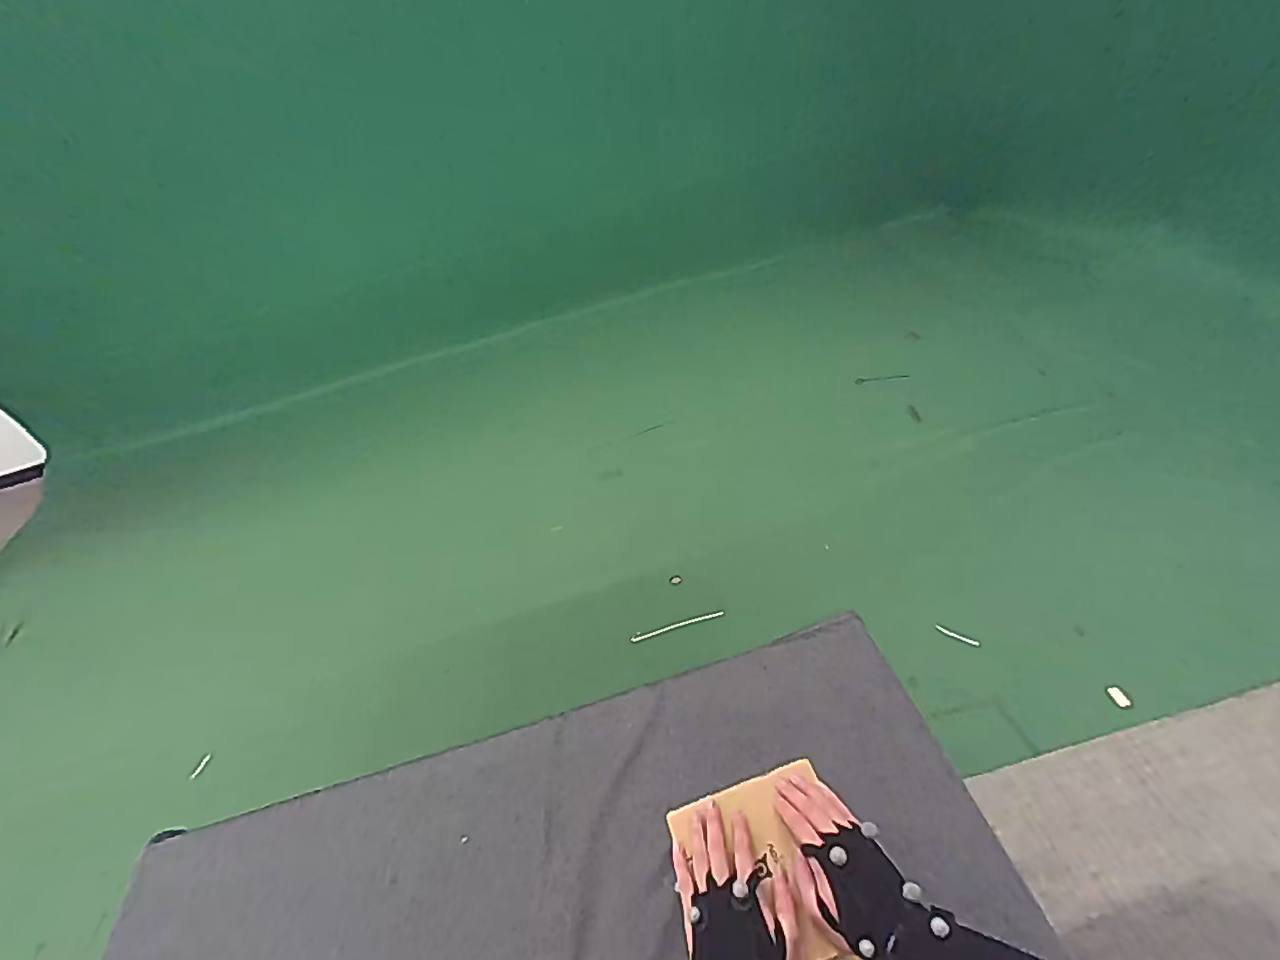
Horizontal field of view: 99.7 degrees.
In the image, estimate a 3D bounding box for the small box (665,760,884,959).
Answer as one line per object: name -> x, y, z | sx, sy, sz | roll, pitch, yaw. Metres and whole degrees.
small box -> 0.145, 0.460, 0.623 | 0.179, 0.176, 0.168 | -21, 45, -5
